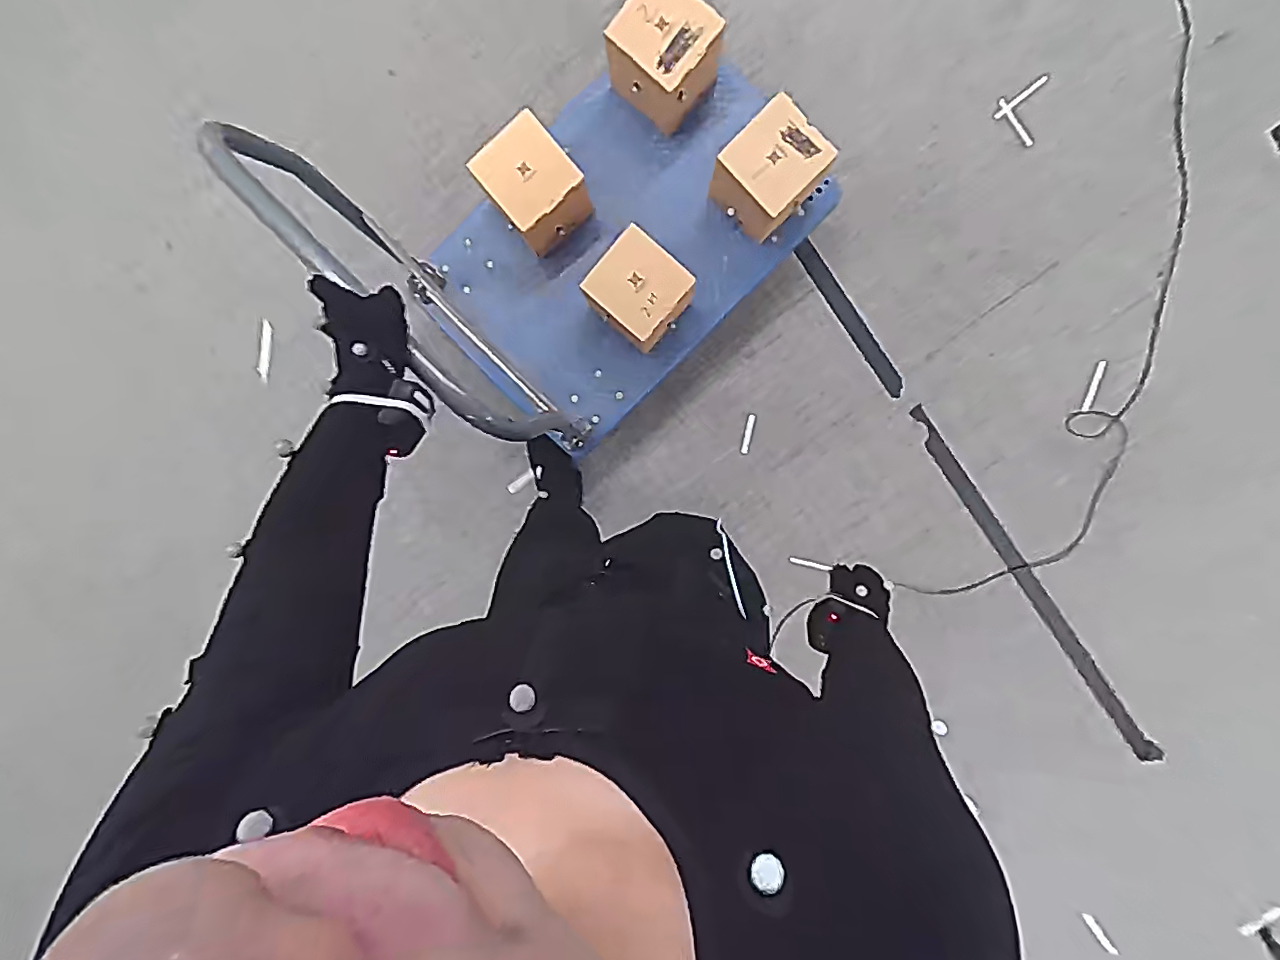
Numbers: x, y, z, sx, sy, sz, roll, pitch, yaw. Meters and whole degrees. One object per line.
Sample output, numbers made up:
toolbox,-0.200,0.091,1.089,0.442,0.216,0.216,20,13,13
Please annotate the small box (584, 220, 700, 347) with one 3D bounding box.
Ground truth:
small box,0.005,-0.406,1.155,0.179,0.176,0.168,42,95,-3

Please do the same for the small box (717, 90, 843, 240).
small box,0.278,-0.641,1.123,0.179,0.176,0.168,-43,93,6

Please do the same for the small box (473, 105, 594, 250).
small box,-0.215,-0.623,1.141,0.168,0.176,0.179,-41,95,5
